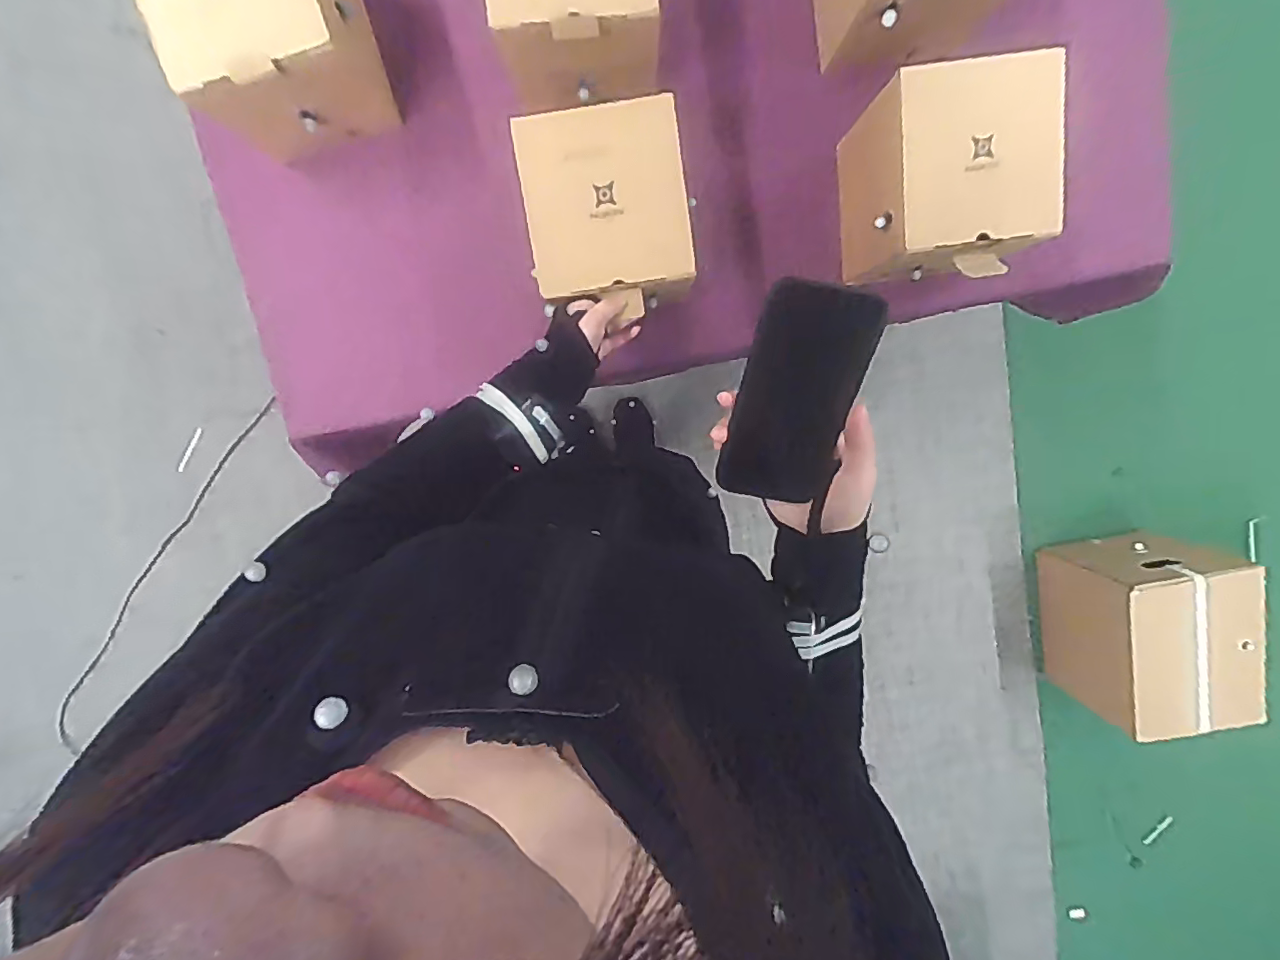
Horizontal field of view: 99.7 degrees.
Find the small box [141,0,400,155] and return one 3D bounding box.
[{"bbox_3d":[-0.393,-0.485,0.589,0.168,0.176,0.179,-16,100,1],"label":"small box"}]

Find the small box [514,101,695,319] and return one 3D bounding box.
[{"bbox_3d":[-0.034,-0.291,0.626,0.168,0.176,0.179,-9,98,0],"label":"small box"}]

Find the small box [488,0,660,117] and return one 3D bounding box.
[{"bbox_3d":[-0.069,-0.532,0.584,0.168,0.176,0.179,-4,100,1],"label":"small box"}]

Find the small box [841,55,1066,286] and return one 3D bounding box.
[{"bbox_3d":[0.342,-0.336,0.621,0.168,0.176,0.179,-6,100,1],"label":"small box"}]
